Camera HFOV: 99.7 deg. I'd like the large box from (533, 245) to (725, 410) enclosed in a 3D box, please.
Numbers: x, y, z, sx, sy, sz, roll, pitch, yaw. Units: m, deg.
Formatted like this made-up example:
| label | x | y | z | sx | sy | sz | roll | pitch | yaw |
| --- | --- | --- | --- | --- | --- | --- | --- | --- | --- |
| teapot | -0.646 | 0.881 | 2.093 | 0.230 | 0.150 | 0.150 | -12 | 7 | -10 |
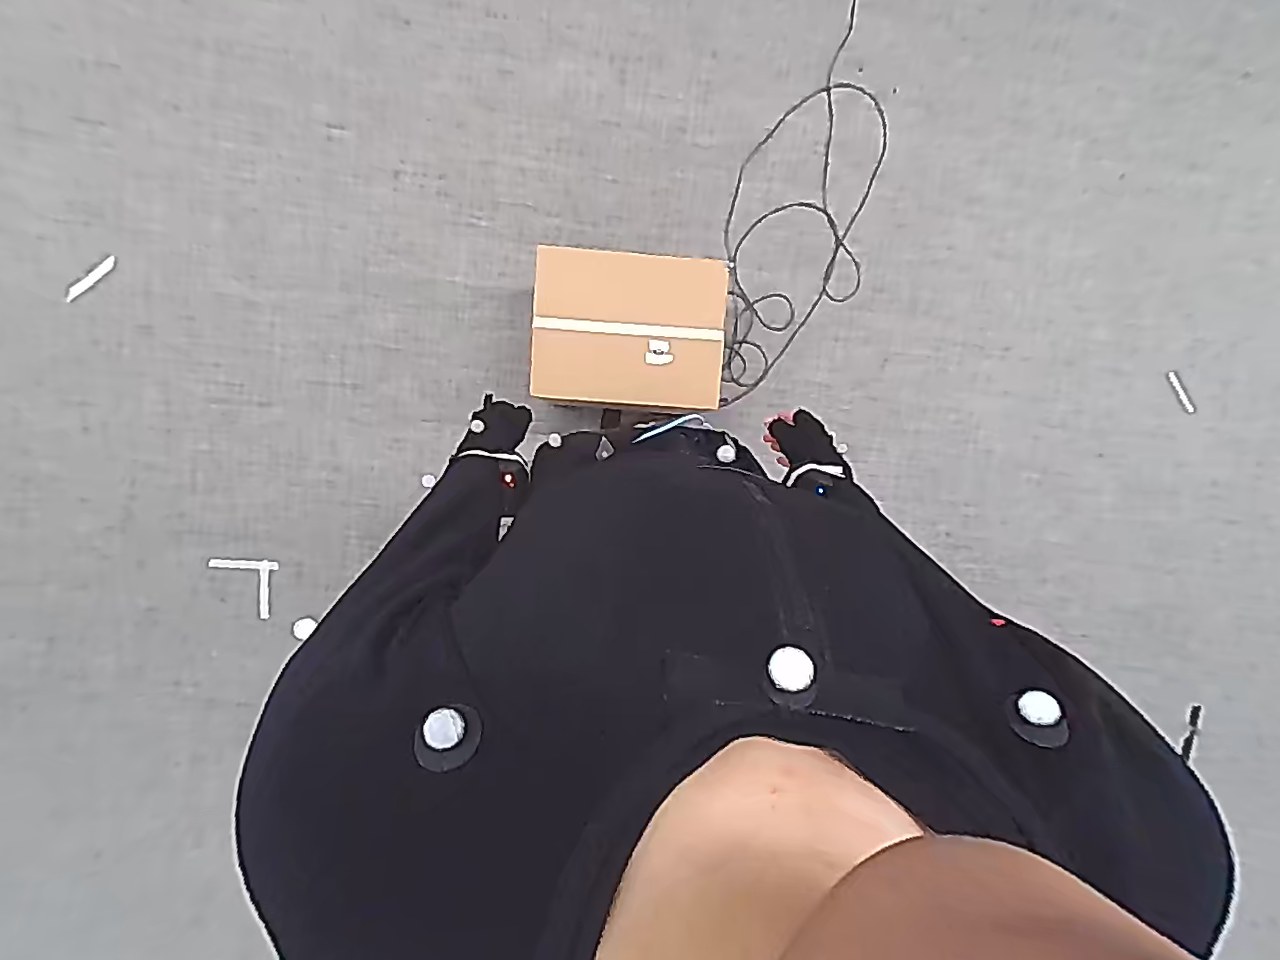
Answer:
| label | x | y | z | sx | sy | sz | roll | pitch | yaw |
| --- | --- | --- | --- | --- | --- | --- | --- | --- | --- |
| large box | -0.035 | -0.340 | 1.298 | 0.408 | 0.320 | 0.320 | 4 | 96 | -4 |
